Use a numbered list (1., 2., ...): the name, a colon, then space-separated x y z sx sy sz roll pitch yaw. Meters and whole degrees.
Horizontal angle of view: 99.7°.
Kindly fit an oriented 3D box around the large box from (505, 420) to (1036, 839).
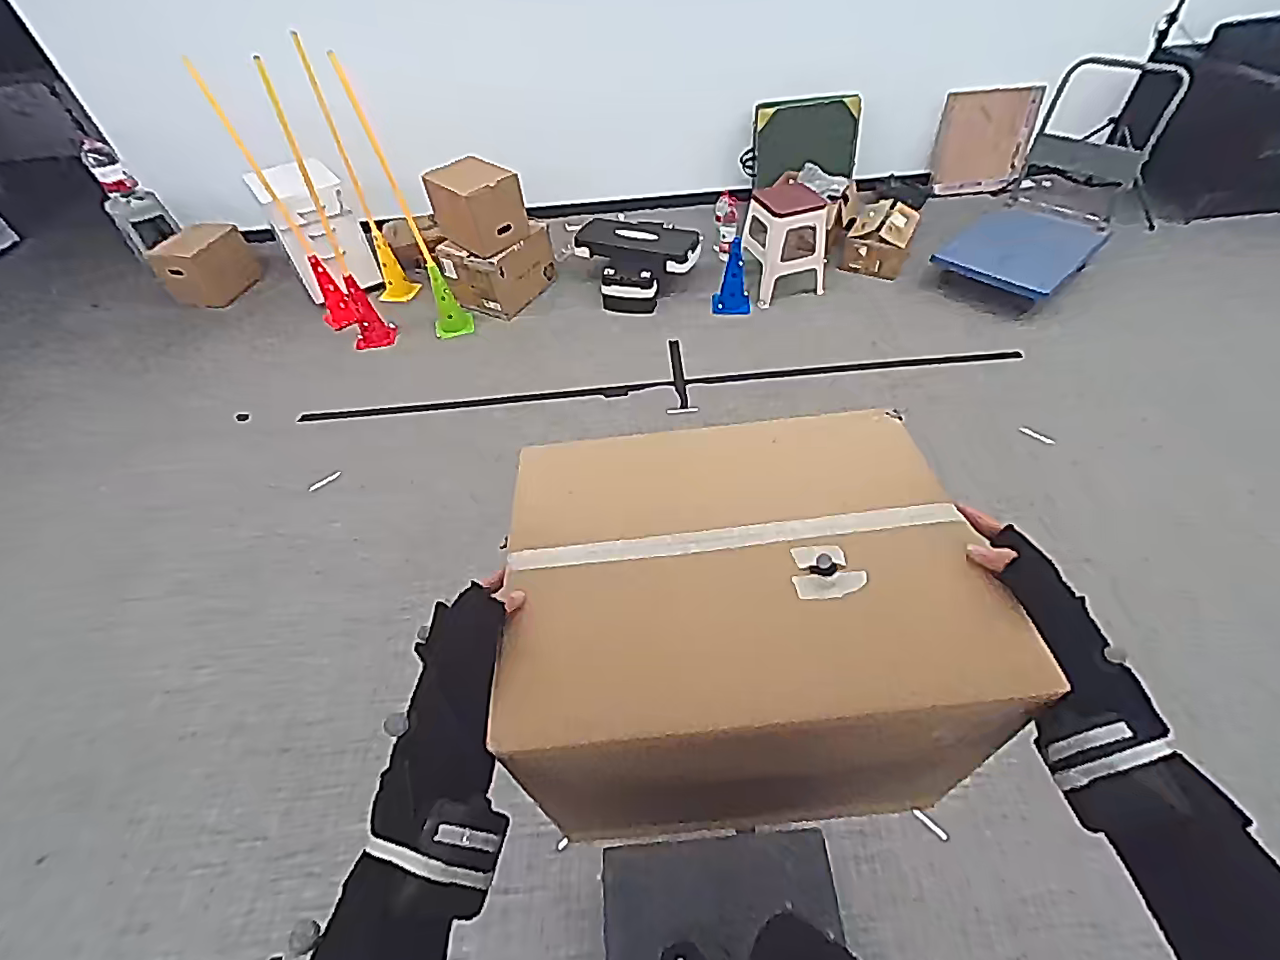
1. large box: 0.095 0.167 0.603 0.408 0.320 0.320 -6 46 1
